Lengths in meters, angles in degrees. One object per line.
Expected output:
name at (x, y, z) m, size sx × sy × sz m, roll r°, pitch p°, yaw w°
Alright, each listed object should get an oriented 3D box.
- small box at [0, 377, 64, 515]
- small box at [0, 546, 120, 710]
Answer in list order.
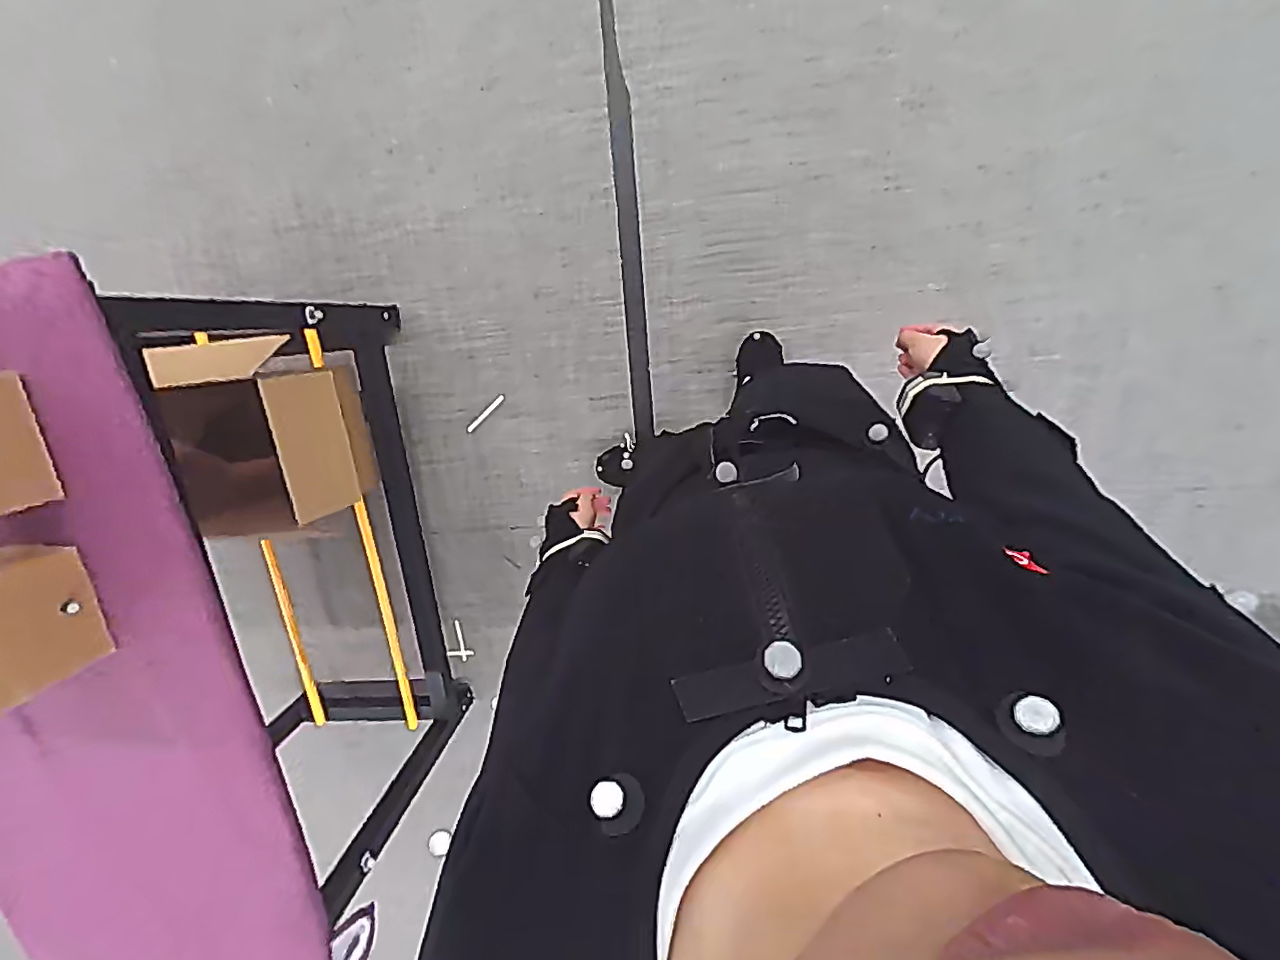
small box at (-0.888, -0.035, 0.662) m, size 0.168 × 0.176 × 0.179 m, roll -2°, pitch 106°, yaw 10°
small box at (-0.880, 0.202, 0.728) m, size 0.168 × 0.176 × 0.179 m, roll -2°, pitch 106°, yaw 8°
